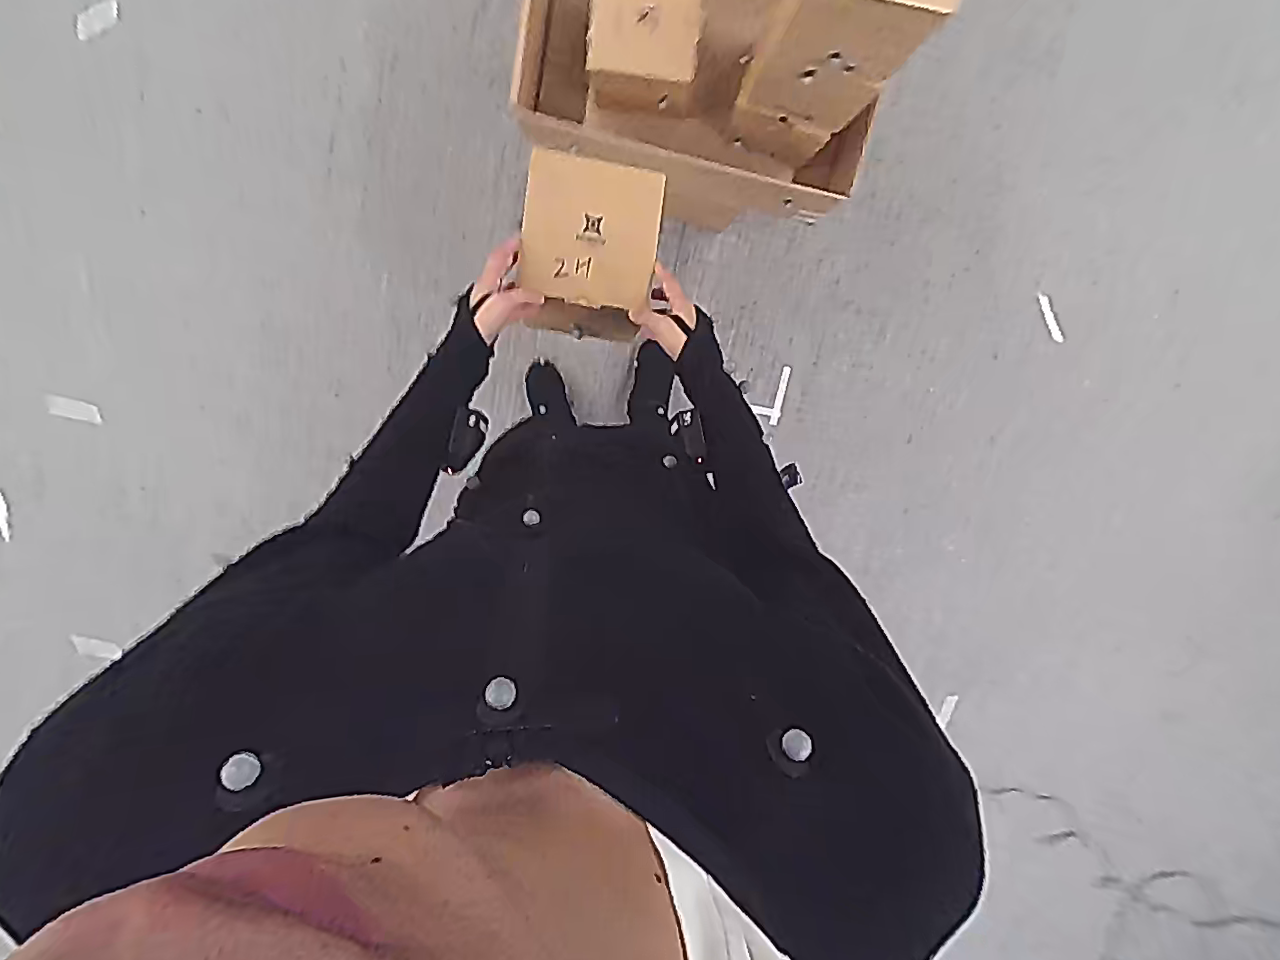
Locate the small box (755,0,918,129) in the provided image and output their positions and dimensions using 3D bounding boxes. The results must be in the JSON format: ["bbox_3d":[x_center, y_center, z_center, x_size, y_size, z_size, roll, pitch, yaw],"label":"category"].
[{"bbox_3d":[0.282,-0.659,0.788,0.168,0.176,0.179,16,104,-5],"label":"small box"}]

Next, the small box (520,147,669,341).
[{"bbox_3d":[-0.066,-0.302,0.731,0.168,0.176,0.179,6,91,-8],"label":"small box"}]
